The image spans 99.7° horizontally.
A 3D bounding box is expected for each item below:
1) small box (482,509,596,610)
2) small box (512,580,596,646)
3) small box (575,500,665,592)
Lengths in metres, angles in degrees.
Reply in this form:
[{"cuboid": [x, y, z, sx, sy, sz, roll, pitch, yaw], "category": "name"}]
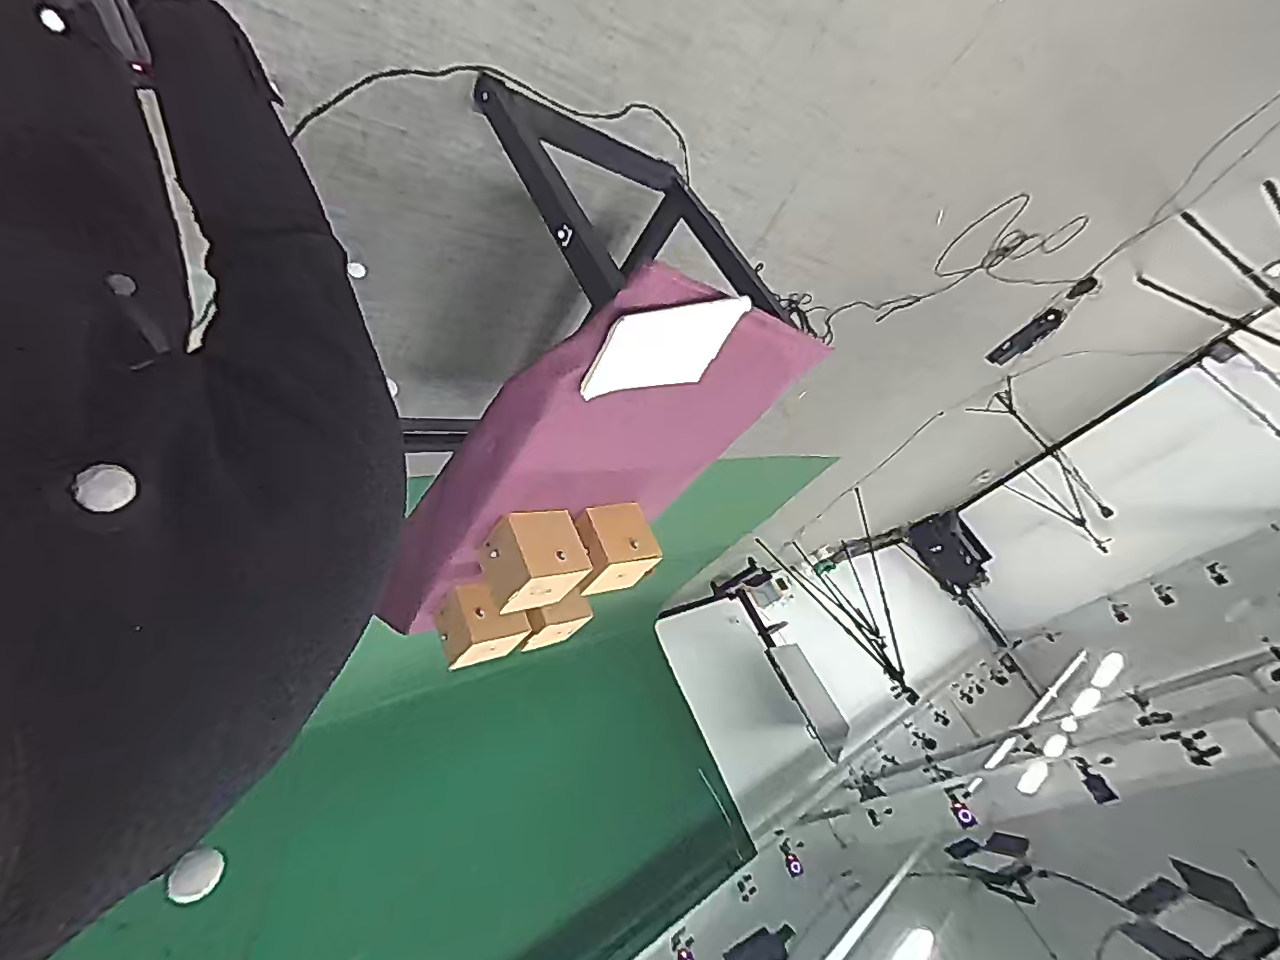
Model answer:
[{"cuboid": [-0.241, 0.179, 1.266, 0.179, 0.176, 0.168, 0, 144, -46], "category": "small box"}, {"cuboid": [-0.269, 0.371, 1.617, 0.179, 0.176, 0.168, 2, 142, -47], "category": "small box"}, {"cuboid": [-0.074, 0.169, 1.423, 0.179, 0.176, 0.168, -4, 147, -41], "category": "small box"}]
